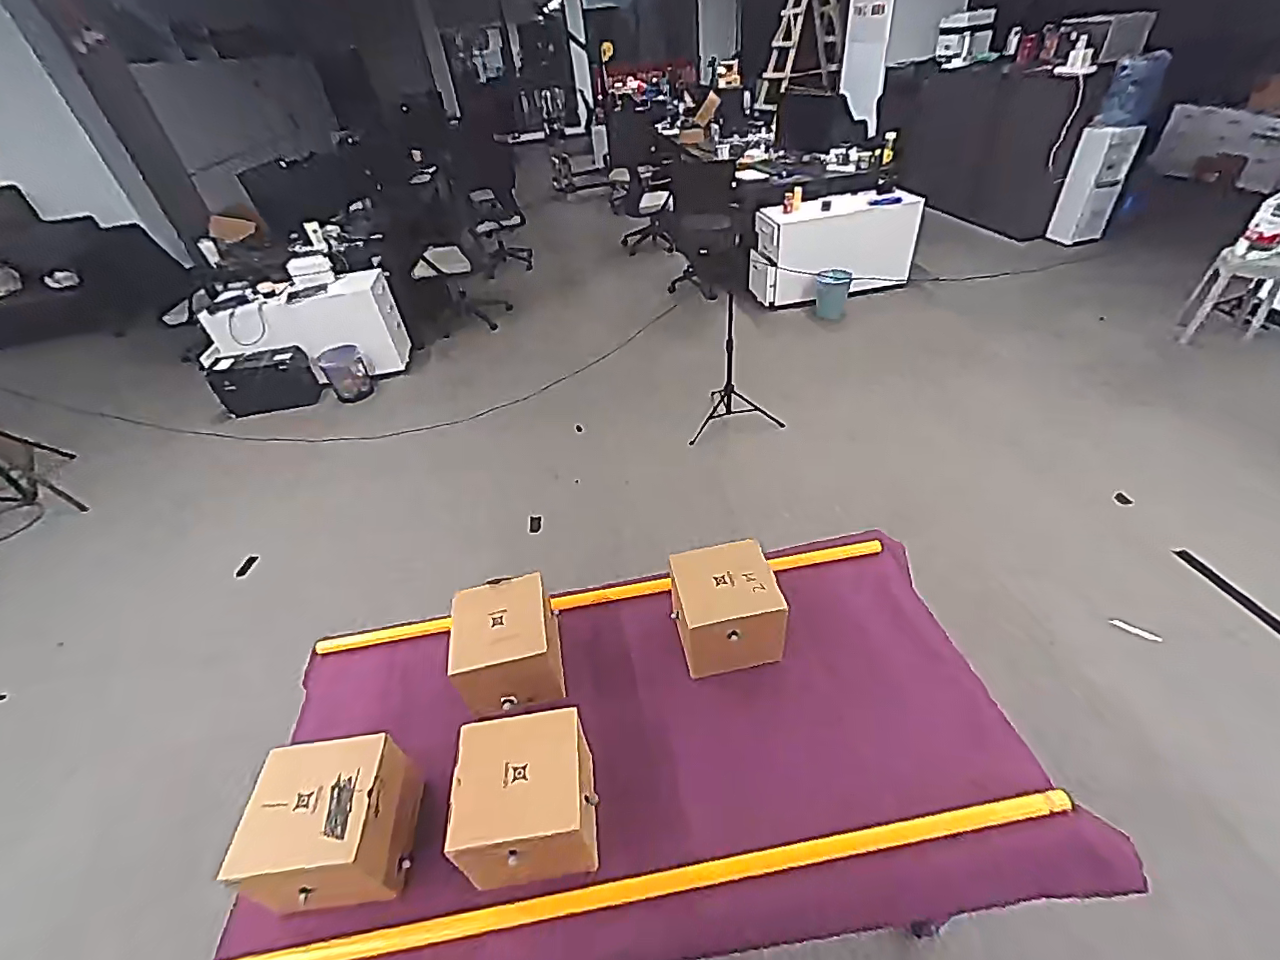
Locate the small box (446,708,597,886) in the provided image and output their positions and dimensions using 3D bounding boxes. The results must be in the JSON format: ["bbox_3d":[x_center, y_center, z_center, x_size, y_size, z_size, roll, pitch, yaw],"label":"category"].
[{"bbox_3d":[-0.159,0.463,0.791,0.179,0.176,0.168,-9,39,-2],"label":"small box"}]

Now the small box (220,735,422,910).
[{"bbox_3d":[-0.440,0.498,0.787,0.179,0.176,0.168,-7,40,-1],"label":"small box"}]

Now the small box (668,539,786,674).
[{"bbox_3d":[0.158,0.239,1.009,0.179,0.176,0.168,-10,41,-3],"label":"small box"}]

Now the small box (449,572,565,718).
[{"bbox_3d":[-0.238,0.303,0.994,0.168,0.176,0.179,-12,41,-5],"label":"small box"}]
